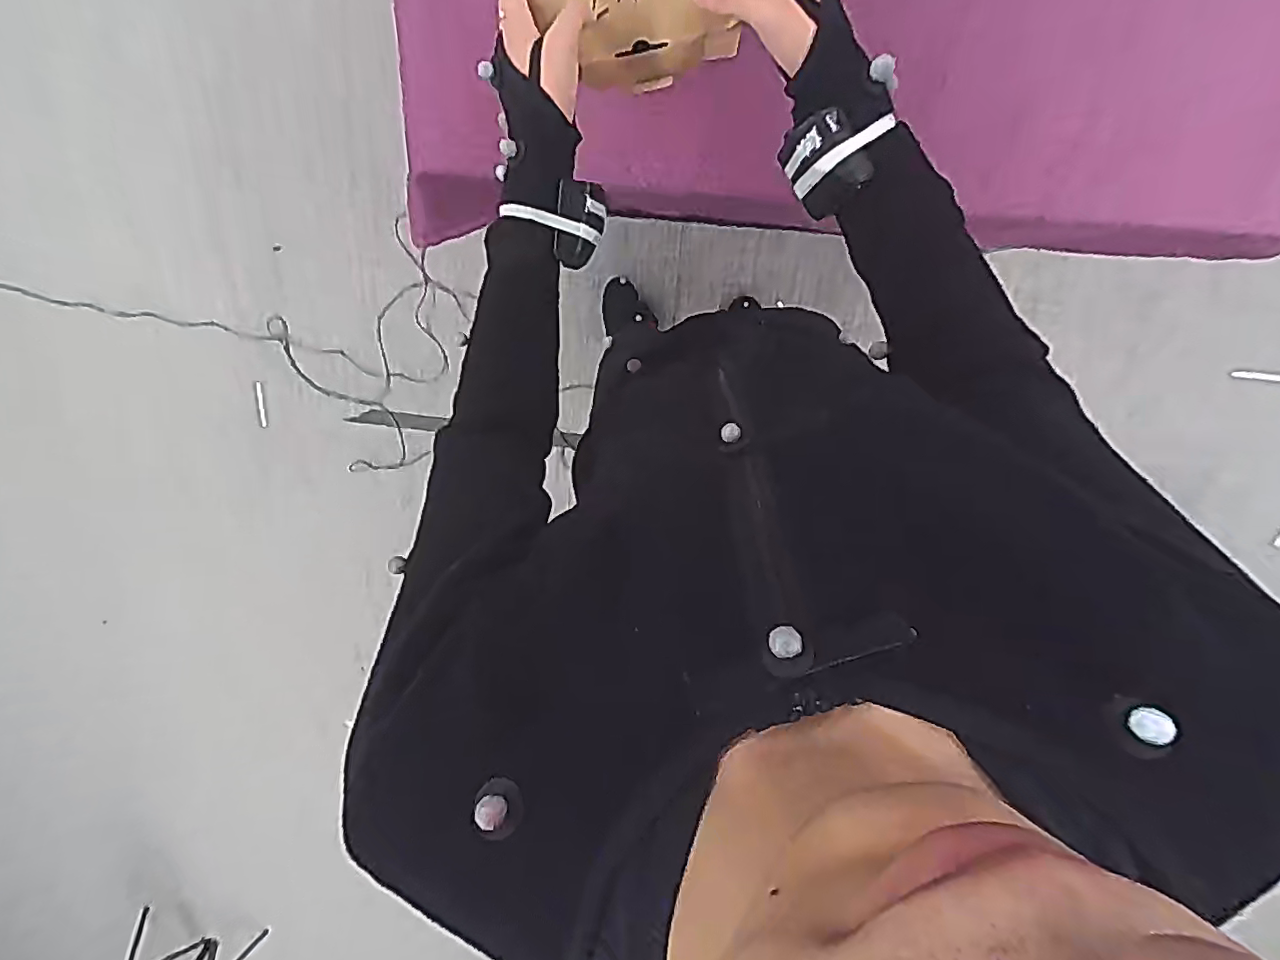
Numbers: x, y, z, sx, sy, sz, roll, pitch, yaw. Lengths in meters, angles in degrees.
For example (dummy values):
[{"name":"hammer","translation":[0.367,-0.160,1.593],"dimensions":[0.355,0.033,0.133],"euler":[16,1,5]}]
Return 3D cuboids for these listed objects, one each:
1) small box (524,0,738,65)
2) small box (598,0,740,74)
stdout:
[{"name":"small box","translation":[-0.017,-0.463,0.438],"dimensions":[0.168,0.176,0.179],"euler":[-7,131,6]},{"name":"small box","translation":[0.022,-0.592,0.612],"dimensions":[0.179,0.176,0.168],"euler":[-4,110,5]}]
